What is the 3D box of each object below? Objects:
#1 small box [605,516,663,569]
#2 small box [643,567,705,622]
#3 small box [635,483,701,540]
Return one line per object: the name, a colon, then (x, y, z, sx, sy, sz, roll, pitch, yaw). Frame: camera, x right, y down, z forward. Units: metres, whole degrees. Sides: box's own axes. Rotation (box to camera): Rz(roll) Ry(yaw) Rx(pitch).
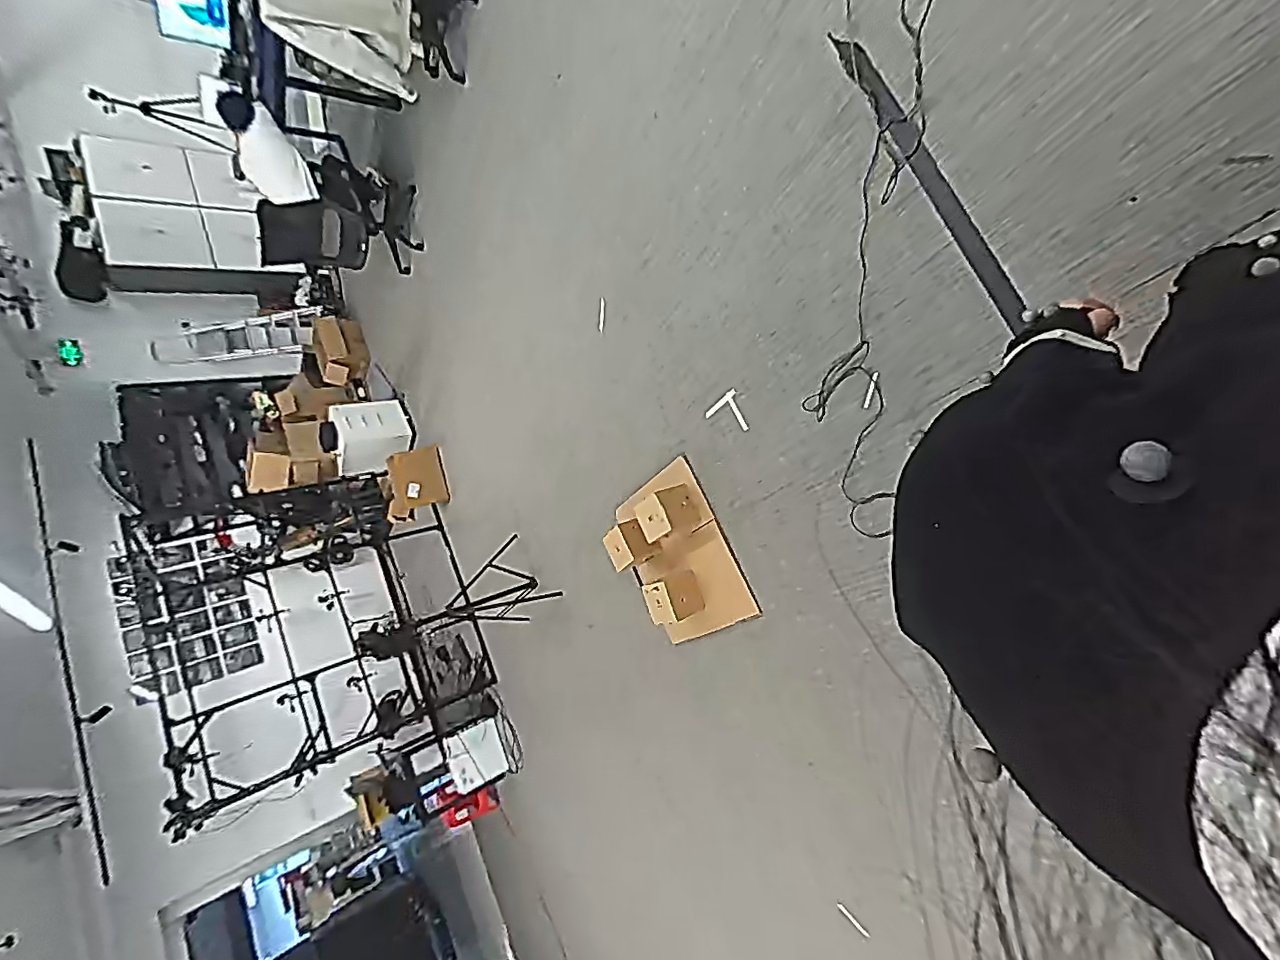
small box: (-0.027, 0.277, 2.450, 0.168, 0.176, 0.179, -47, 64, 49)
small box: (0.149, 0.486, 2.291, 0.168, 0.176, 0.179, -26, 82, 51)
small box: (0.116, 0.128, 2.221, 0.179, 0.176, 0.168, -39, 72, 48)
